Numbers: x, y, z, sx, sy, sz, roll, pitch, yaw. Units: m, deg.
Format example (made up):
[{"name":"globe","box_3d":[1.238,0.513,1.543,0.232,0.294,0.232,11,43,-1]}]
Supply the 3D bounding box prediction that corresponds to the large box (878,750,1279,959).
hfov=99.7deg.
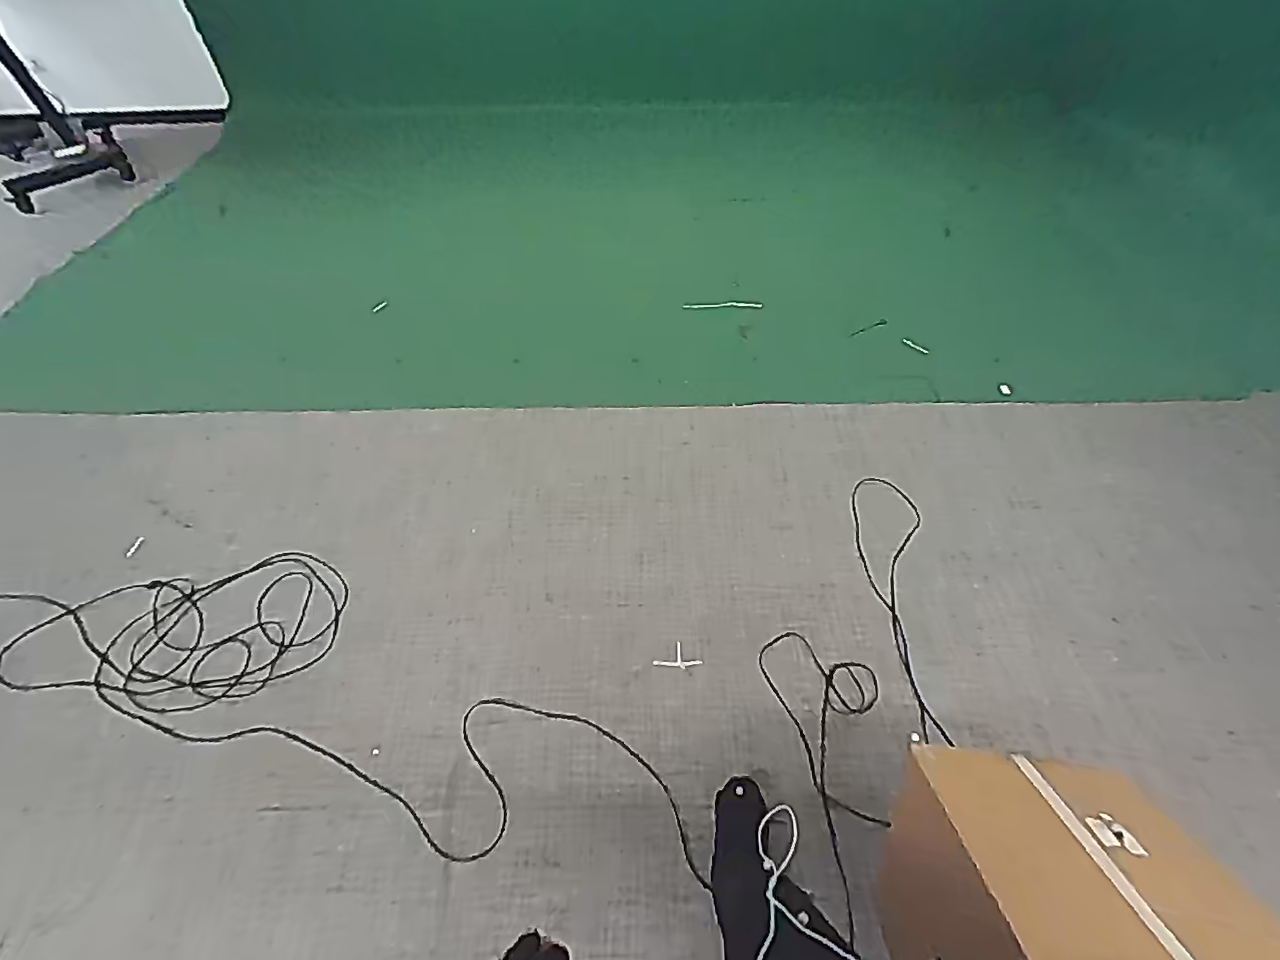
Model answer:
[{"name":"large box","box_3d":[0.535,0.620,0.667,0.320,0.320,0.408,7,12,5]}]
